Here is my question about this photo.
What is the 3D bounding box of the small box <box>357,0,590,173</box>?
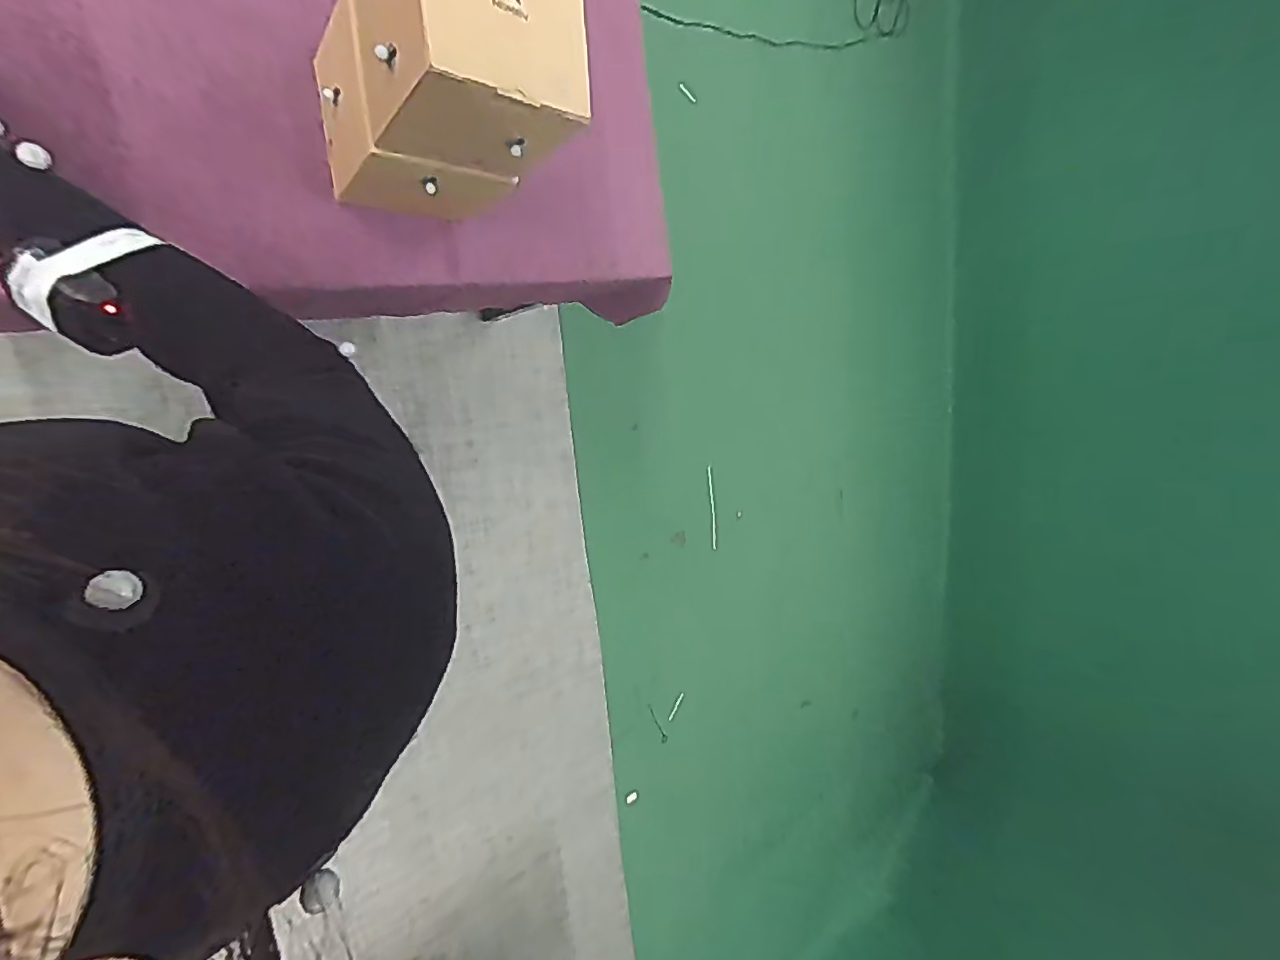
[{"bbox_3d":[-0.168,-0.435,0.536,0.168,0.176,0.179,-10,101,-39],"label":"small box"}]

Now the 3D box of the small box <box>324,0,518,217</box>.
[{"bbox_3d":[-0.271,-0.439,0.662,0.179,0.176,0.168,-11,102,-39],"label":"small box"}]
